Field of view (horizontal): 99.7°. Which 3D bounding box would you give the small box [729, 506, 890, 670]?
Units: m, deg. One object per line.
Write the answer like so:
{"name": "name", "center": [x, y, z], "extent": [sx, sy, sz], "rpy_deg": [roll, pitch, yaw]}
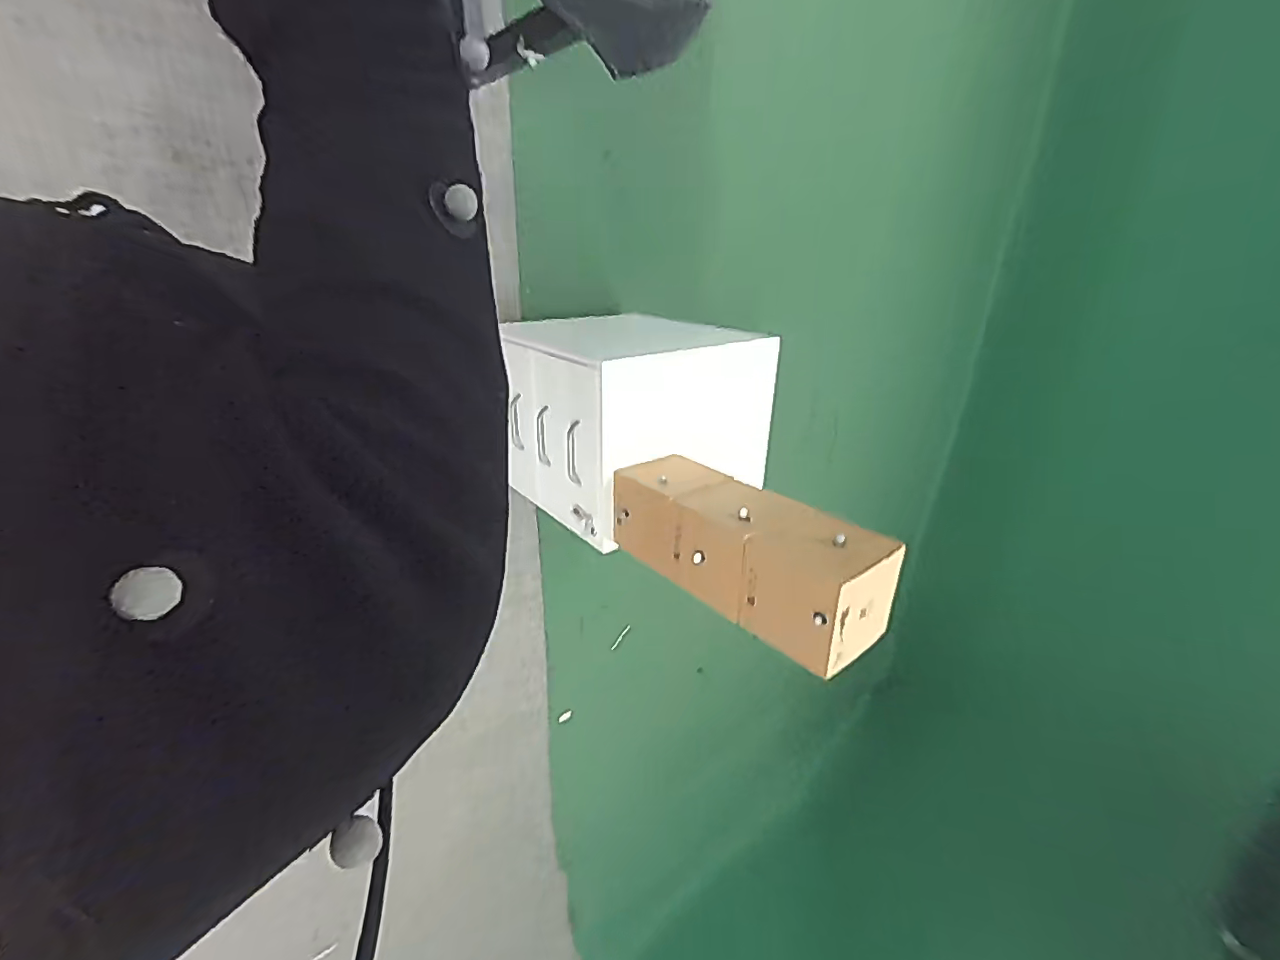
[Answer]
{"name": "small box", "center": [0.266, 0.160, 0.868], "extent": [0.179, 0.176, 0.168], "rpy_deg": [-20, 121, -37]}

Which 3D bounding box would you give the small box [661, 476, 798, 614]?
{"name": "small box", "center": [0.155, 0.107, 0.976], "extent": [0.179, 0.176, 0.168], "rpy_deg": [-17, 120, -38]}
